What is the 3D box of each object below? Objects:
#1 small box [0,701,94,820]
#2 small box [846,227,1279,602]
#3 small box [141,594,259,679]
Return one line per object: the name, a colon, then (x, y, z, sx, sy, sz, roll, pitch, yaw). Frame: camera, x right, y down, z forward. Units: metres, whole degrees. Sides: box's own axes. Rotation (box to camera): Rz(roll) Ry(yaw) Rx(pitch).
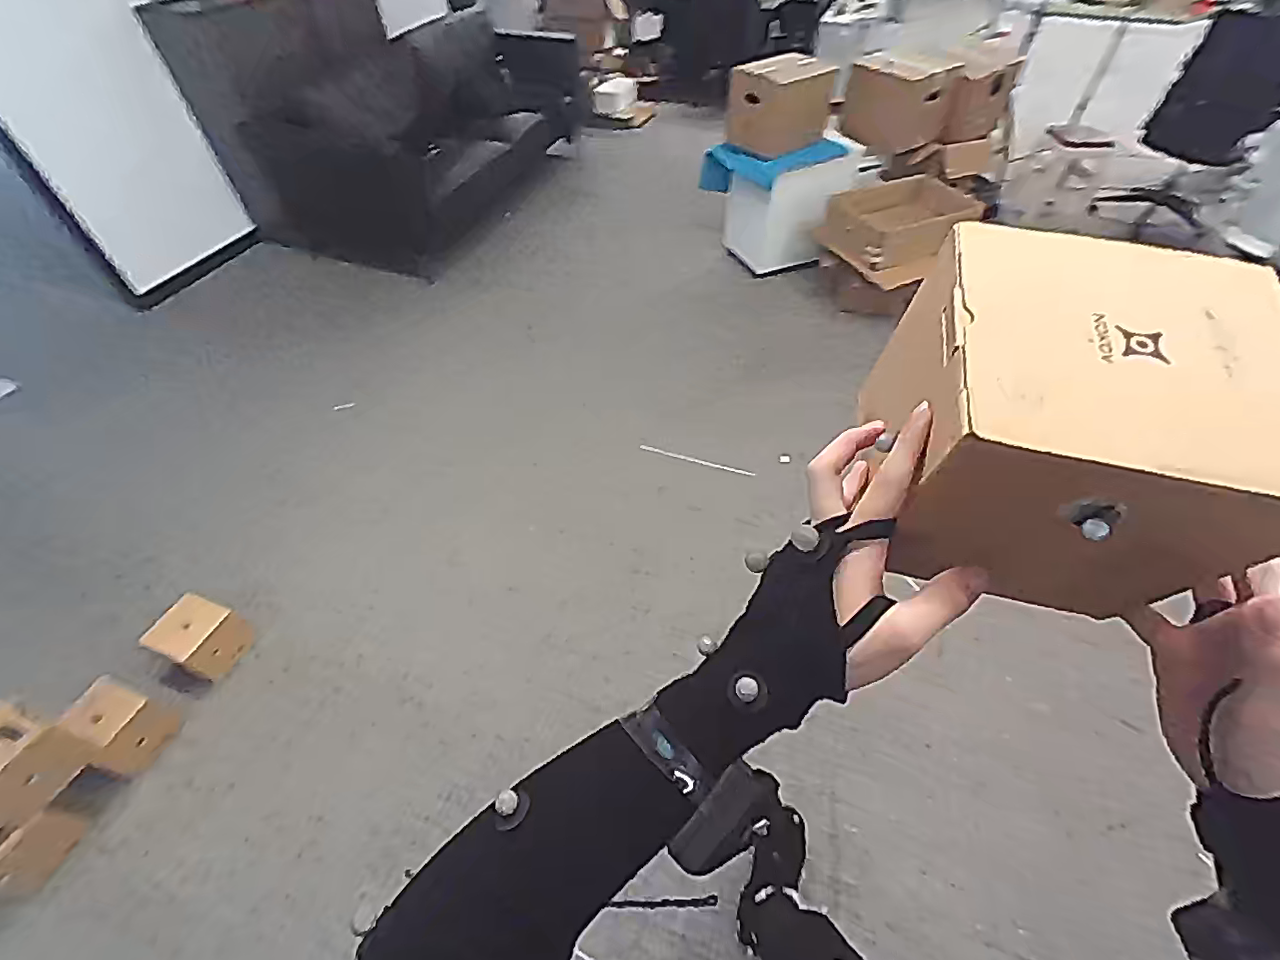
small box: (-1.427, 0.645, 1.240, 0.168, 0.176, 0.179, 17, 52, 15)
small box: (0.249, -0.034, 0.358, 0.179, 0.176, 0.168, 12, 60, 7)
small box: (-1.294, 0.470, 1.606, 0.179, 0.176, 0.168, 16, 52, 14)
